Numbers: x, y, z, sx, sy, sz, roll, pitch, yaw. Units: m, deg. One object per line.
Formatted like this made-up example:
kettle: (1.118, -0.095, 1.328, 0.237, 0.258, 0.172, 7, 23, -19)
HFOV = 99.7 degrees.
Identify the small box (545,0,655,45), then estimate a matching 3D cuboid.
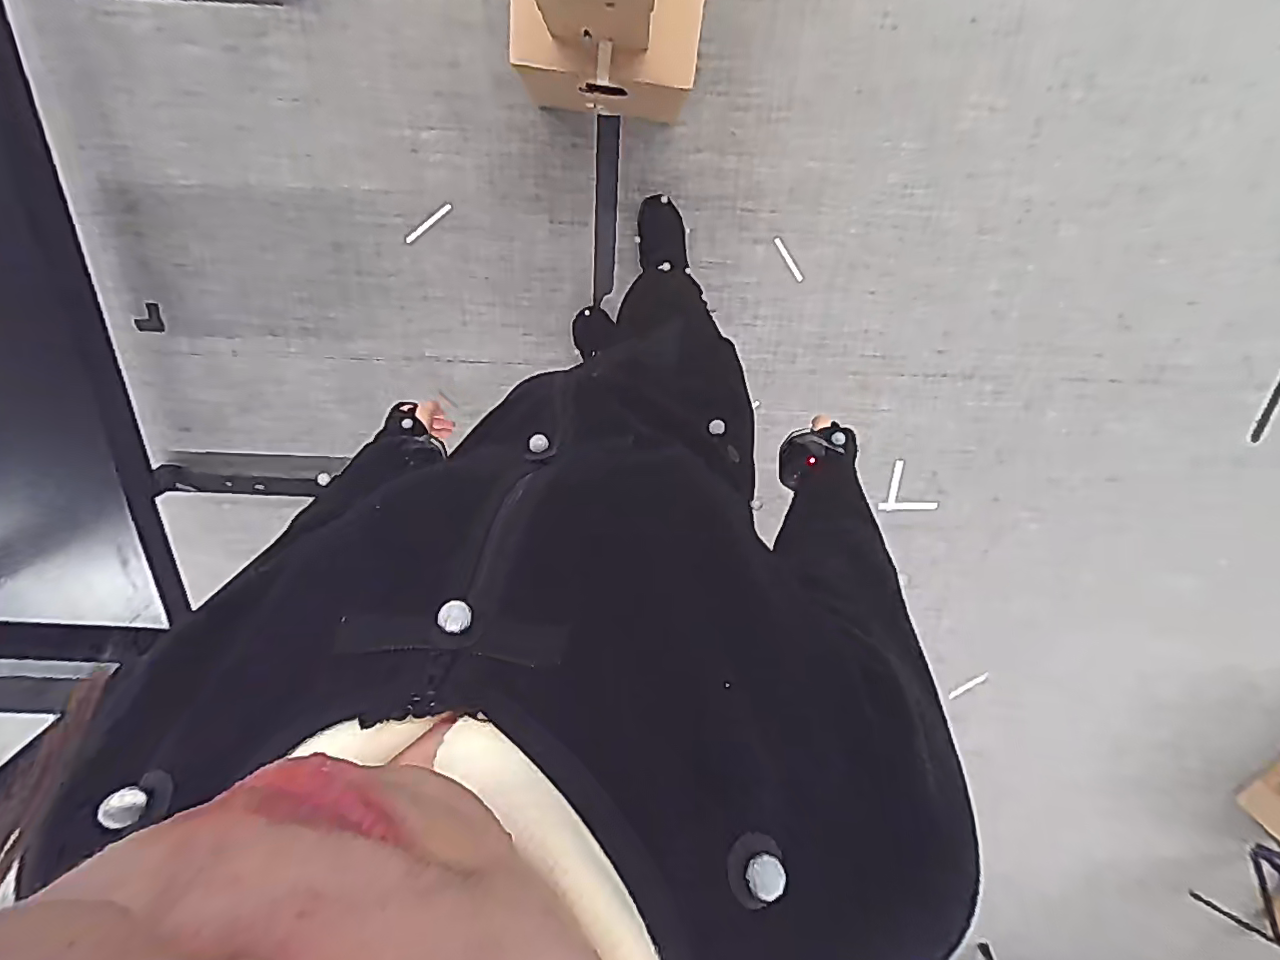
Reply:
small box: (-0.053, -0.761, 0.767, 0.168, 0.176, 0.179, 6, 115, -3)

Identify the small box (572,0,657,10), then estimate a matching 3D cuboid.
small box: (-0.050, -0.689, 0.619, 0.168, 0.176, 0.179, 5, 113, -1)

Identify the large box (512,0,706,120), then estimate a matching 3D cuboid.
large box: (-0.042, -0.920, 0.963, 0.320, 0.320, 0.408, 5, 113, -5)
